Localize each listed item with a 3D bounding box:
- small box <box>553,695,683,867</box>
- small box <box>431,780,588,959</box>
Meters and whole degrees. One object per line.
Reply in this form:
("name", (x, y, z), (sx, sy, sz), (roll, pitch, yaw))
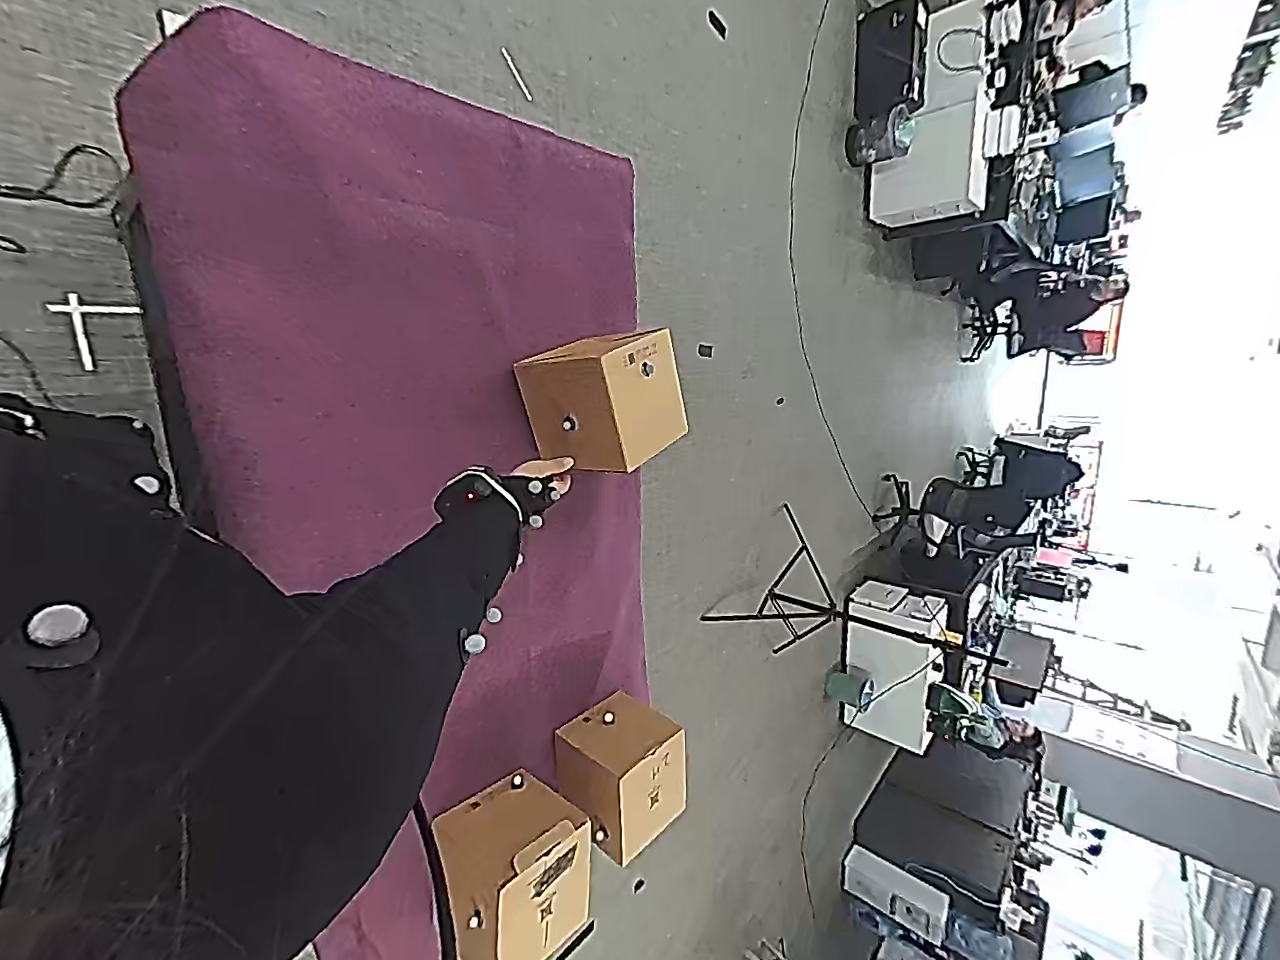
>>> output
("small box", (-0.040, 0.526, 0.974), (0.168, 0.176, 0.179), (-14, 107, -46))
("small box", (-0.196, 0.585, 0.807), (0.168, 0.176, 0.179), (-6, 101, -49))
